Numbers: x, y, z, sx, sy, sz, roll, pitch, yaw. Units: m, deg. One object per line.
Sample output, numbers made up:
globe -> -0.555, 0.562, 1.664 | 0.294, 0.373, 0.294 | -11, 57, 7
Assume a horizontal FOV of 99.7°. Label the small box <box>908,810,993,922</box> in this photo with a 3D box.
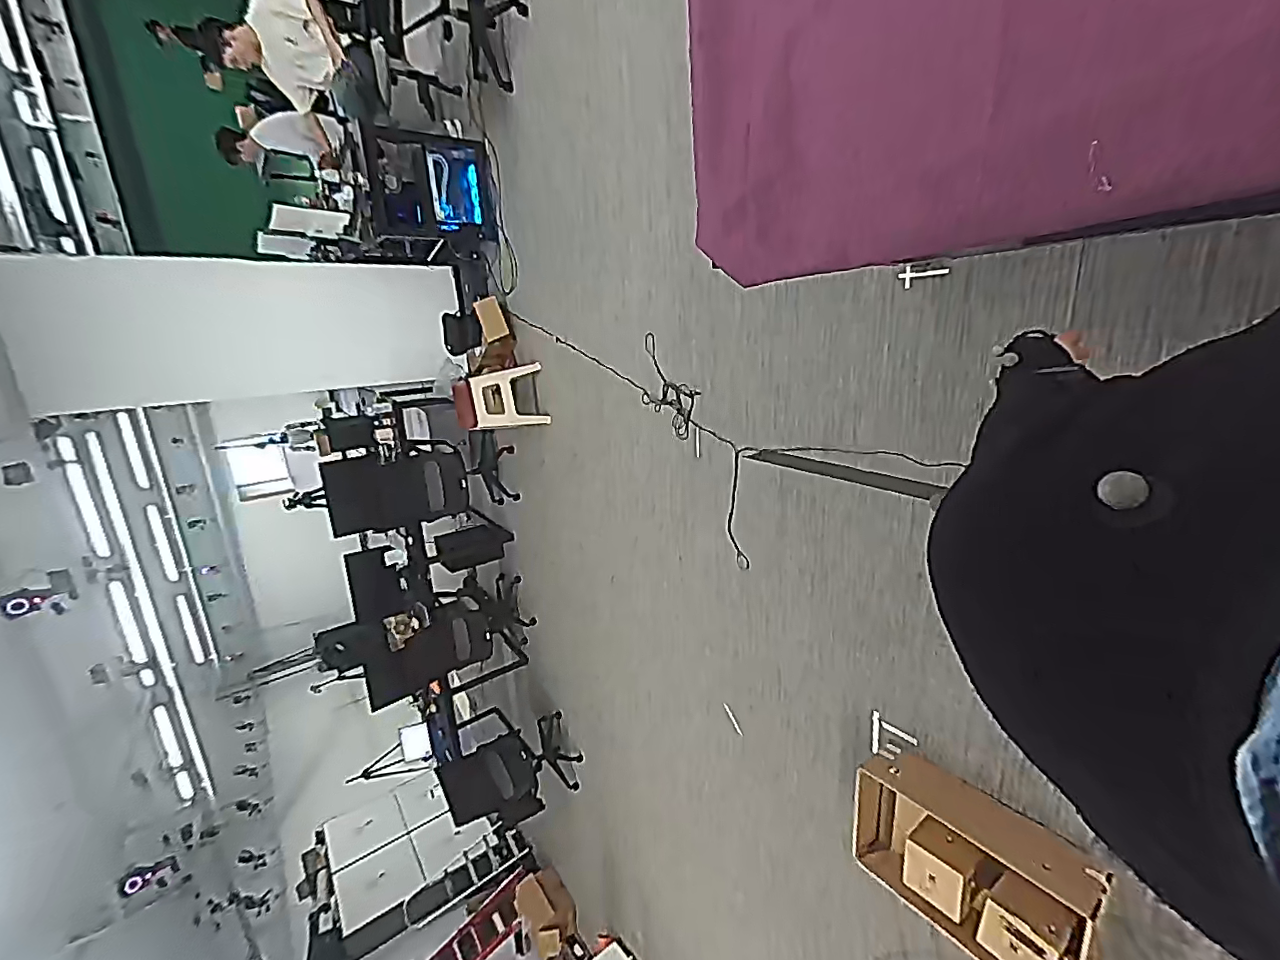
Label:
small box -> 0.933, 1.146, 1.623 | 0.168, 0.176, 0.179 | 16, 114, 52
